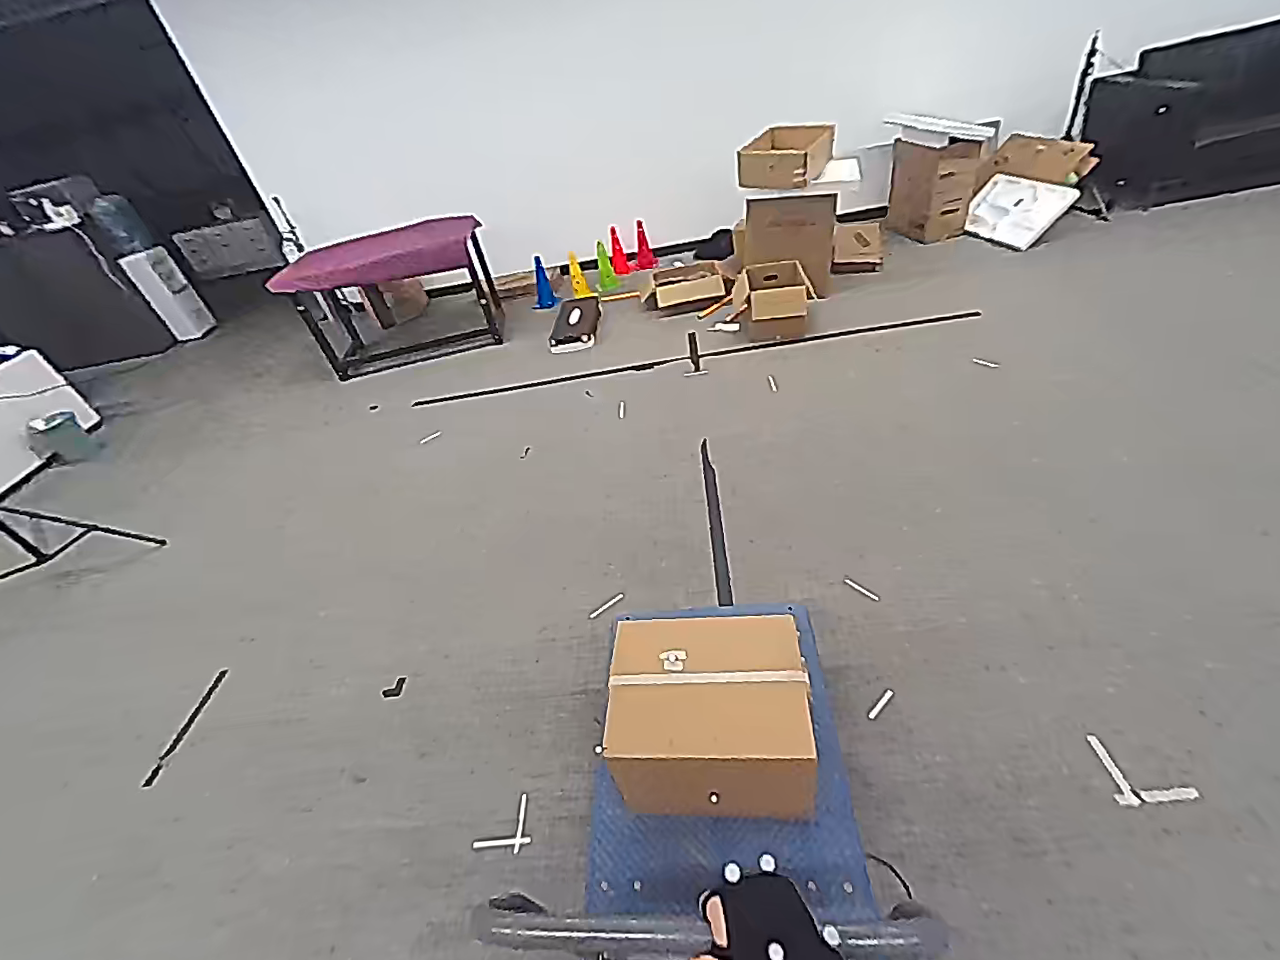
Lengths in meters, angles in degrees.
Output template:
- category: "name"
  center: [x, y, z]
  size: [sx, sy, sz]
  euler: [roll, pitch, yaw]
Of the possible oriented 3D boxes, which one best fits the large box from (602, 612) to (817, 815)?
- category: "large box"
  center: [0.160, 0.524, 1.205]
  size: [0.408, 0.320, 0.320]
  euler: [-6, 38, 10]
